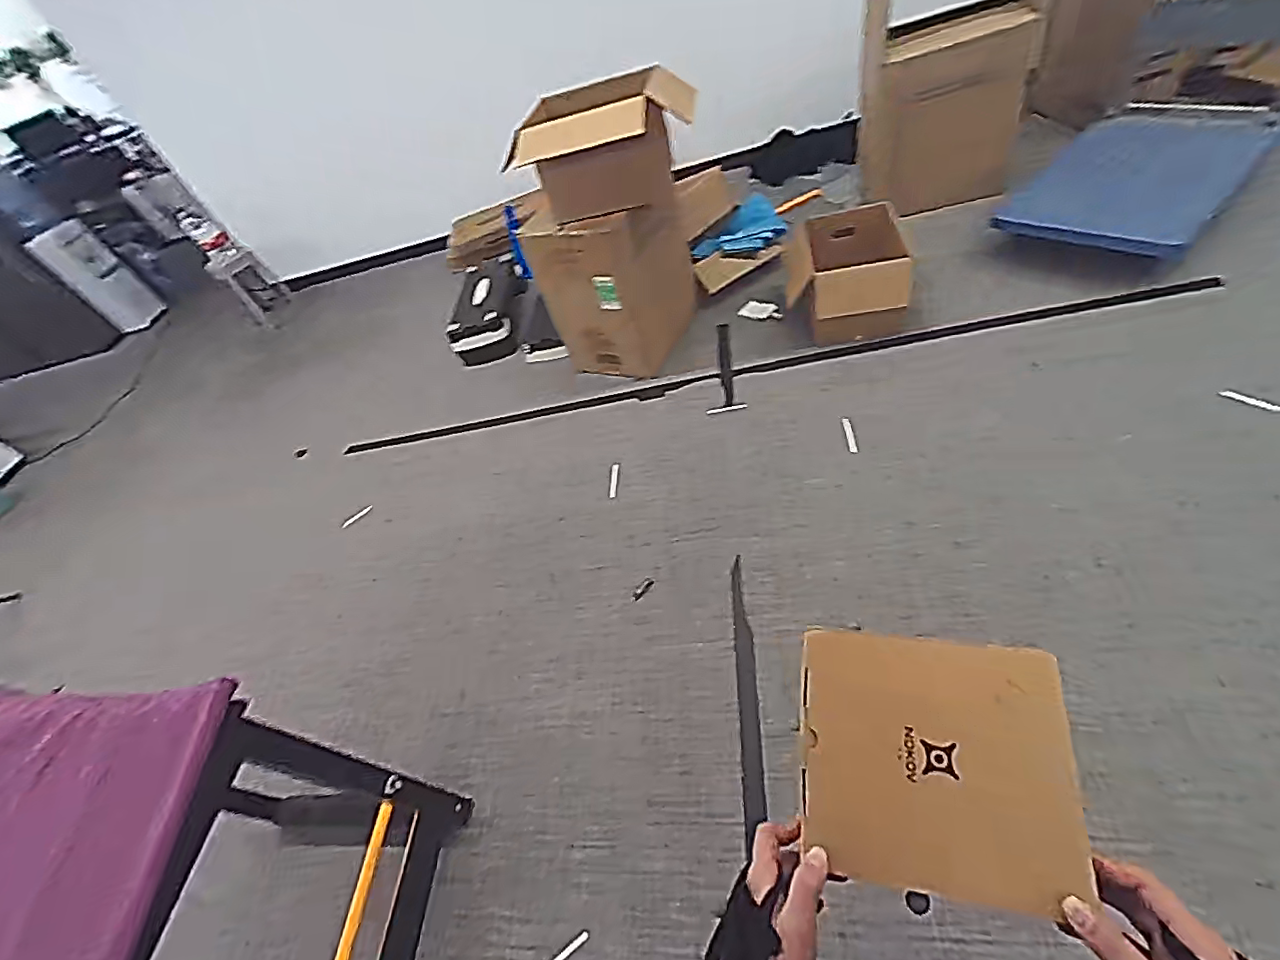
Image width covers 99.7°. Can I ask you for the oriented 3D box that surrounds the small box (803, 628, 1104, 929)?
[{"bbox_3d":[0.231,0.231,0.451,0.179,0.176,0.168,1,64,18],"label":"small box"}]
